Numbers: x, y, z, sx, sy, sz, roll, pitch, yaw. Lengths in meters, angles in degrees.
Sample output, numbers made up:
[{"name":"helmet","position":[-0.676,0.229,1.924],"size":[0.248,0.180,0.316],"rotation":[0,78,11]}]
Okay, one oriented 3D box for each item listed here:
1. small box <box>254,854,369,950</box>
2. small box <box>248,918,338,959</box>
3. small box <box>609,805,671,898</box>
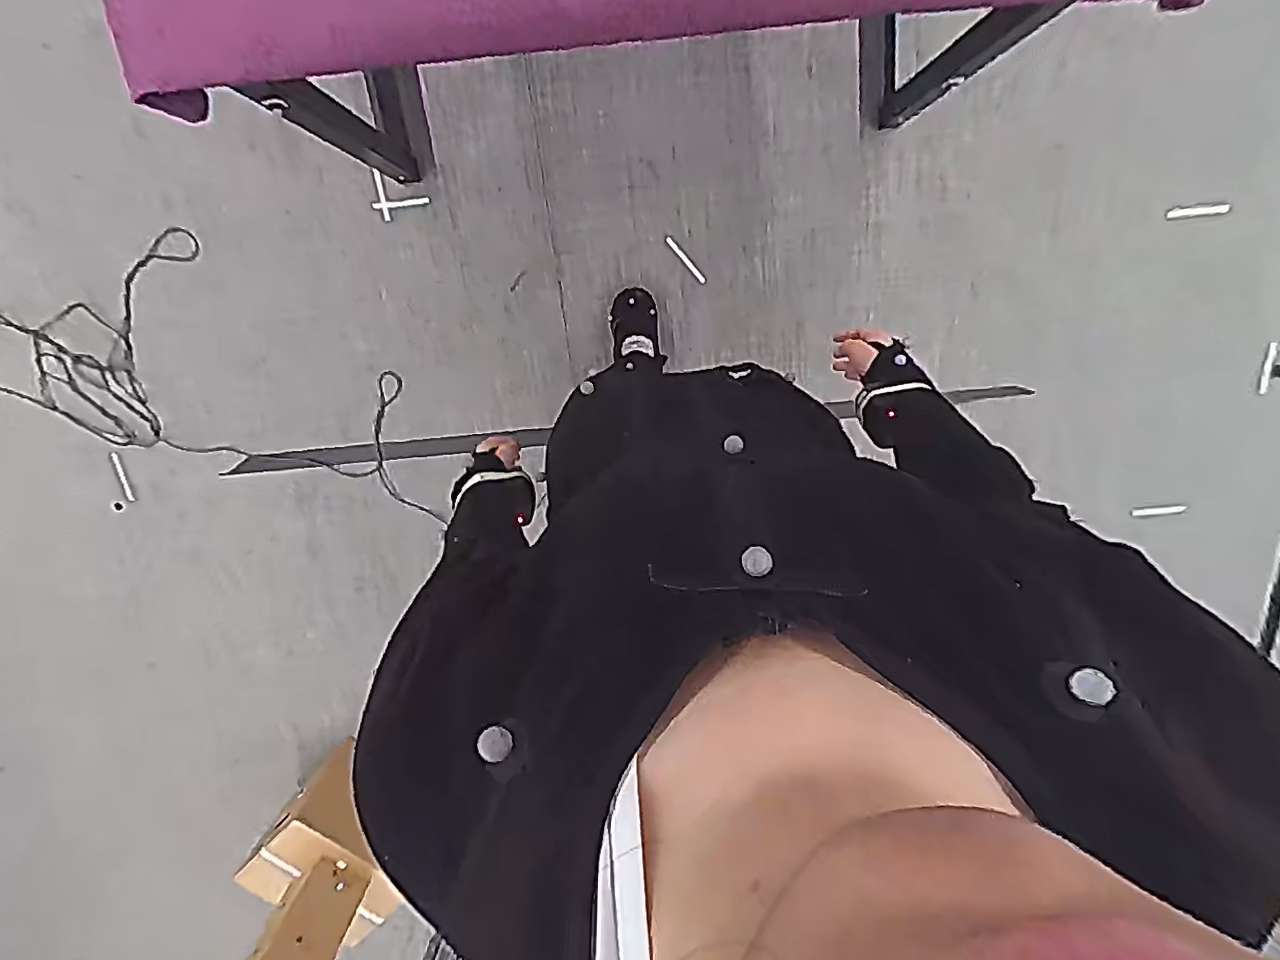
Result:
[{"name":"small box","position":[-0.871,1.167,1.455],"size":[0.168,0.176,0.179],"rotation":[41,102,-12]},{"name":"small box","position":[-0.871,1.217,1.299],"size":[0.168,0.176,0.179],"rotation":[41,103,-12]},{"name":"small box","position":[-0.001,1.231,1.799],"size":[0.168,0.176,0.179],"rotation":[-16,106,2]}]
